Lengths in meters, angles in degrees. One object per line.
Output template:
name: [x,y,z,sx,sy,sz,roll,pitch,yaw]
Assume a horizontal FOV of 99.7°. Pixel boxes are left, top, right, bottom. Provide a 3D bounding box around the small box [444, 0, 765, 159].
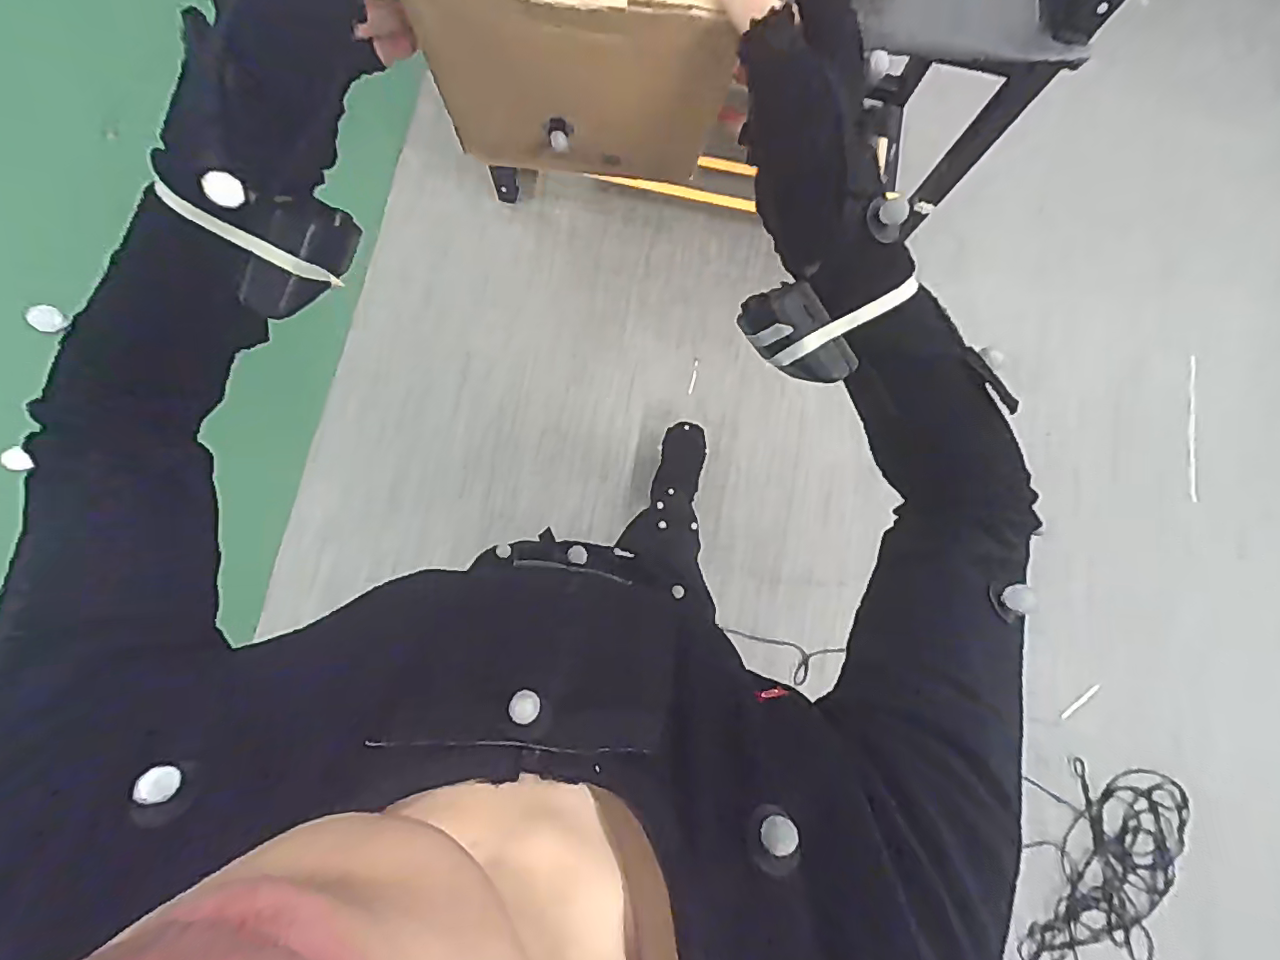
small box: [-0.024,-0.323,0.310,0.168,0.176,0.179,2,95,-6]
